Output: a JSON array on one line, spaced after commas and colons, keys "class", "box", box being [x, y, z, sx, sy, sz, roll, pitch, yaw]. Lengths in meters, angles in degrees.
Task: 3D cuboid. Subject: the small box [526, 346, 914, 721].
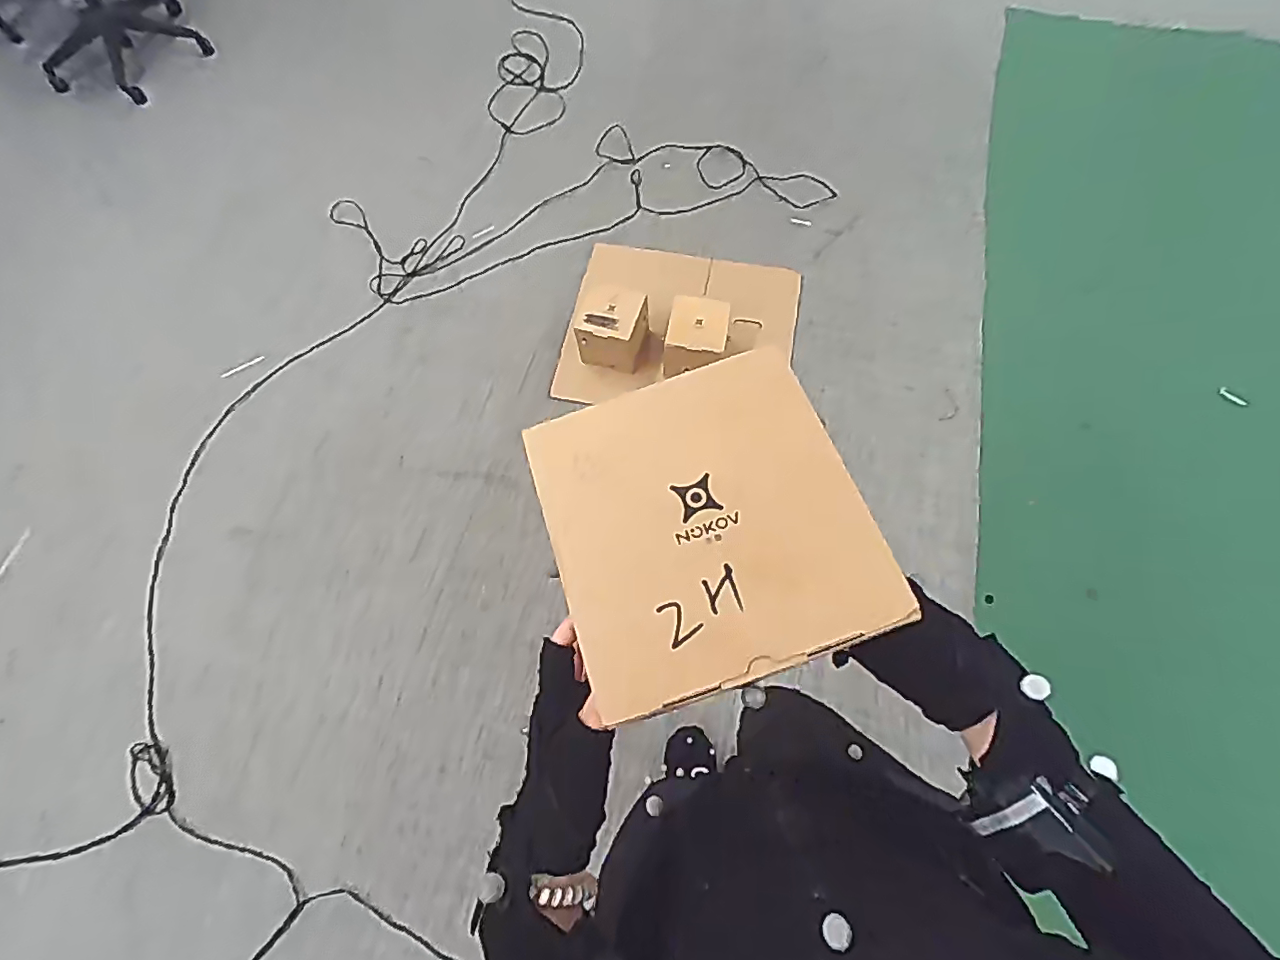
[{"class": "small box", "box": [0.041, 0.047, 0.367, 0.168, 0.176, 0.179, -20, 68, 0]}]

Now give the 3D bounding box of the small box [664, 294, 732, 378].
[{"class": "small box", "box": [0.165, -0.408, 1.575, 0.168, 0.176, 0.179, 9, 70, 5]}]
